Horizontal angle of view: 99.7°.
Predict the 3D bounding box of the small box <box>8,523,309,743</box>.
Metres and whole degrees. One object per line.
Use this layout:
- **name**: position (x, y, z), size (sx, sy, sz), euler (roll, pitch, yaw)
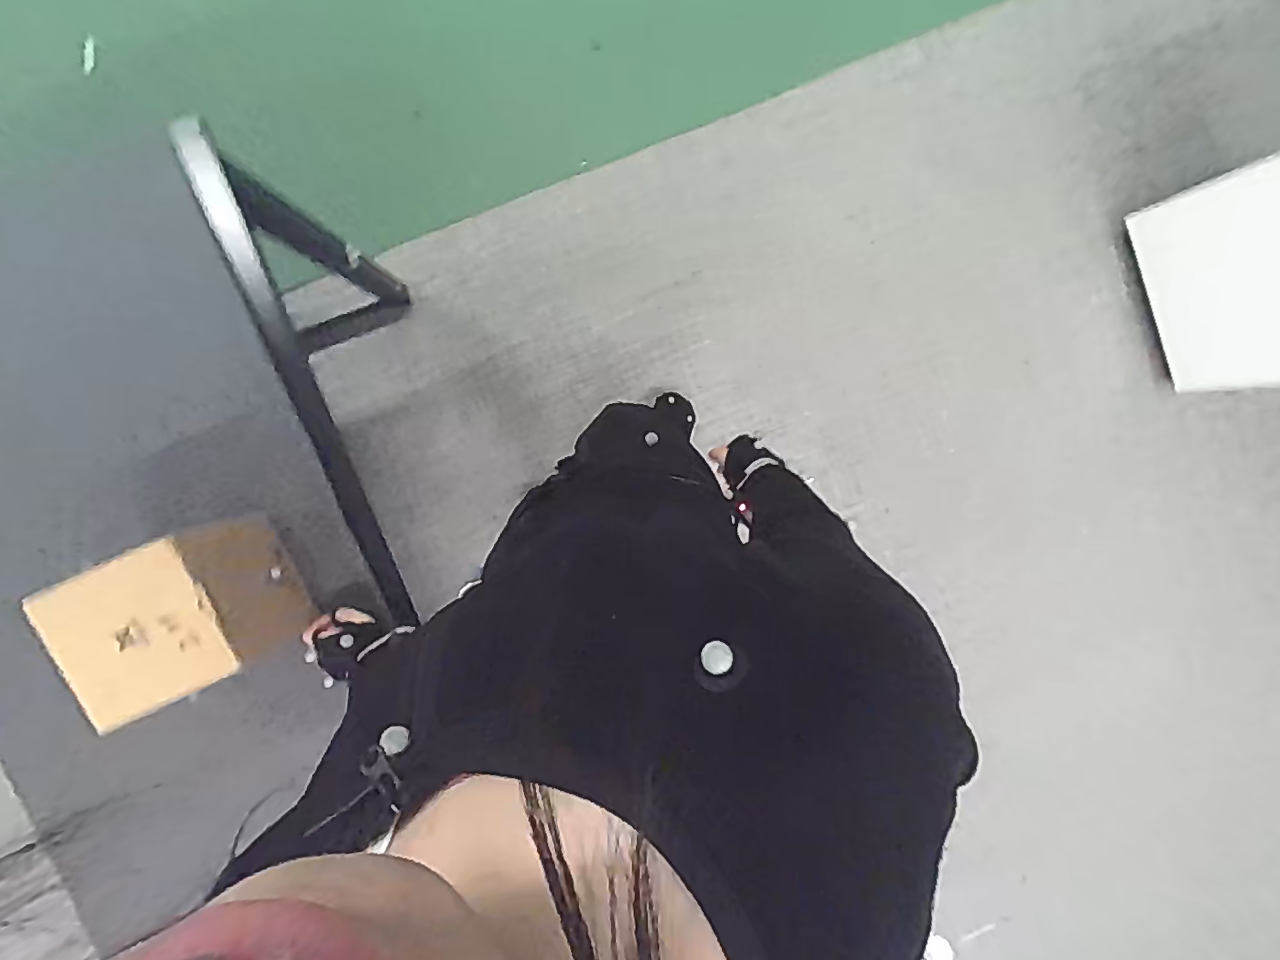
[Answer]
- **small box**: position (-0.553, 0.168, 0.650), size (0.179, 0.176, 0.168), euler (-25, 96, 0)
